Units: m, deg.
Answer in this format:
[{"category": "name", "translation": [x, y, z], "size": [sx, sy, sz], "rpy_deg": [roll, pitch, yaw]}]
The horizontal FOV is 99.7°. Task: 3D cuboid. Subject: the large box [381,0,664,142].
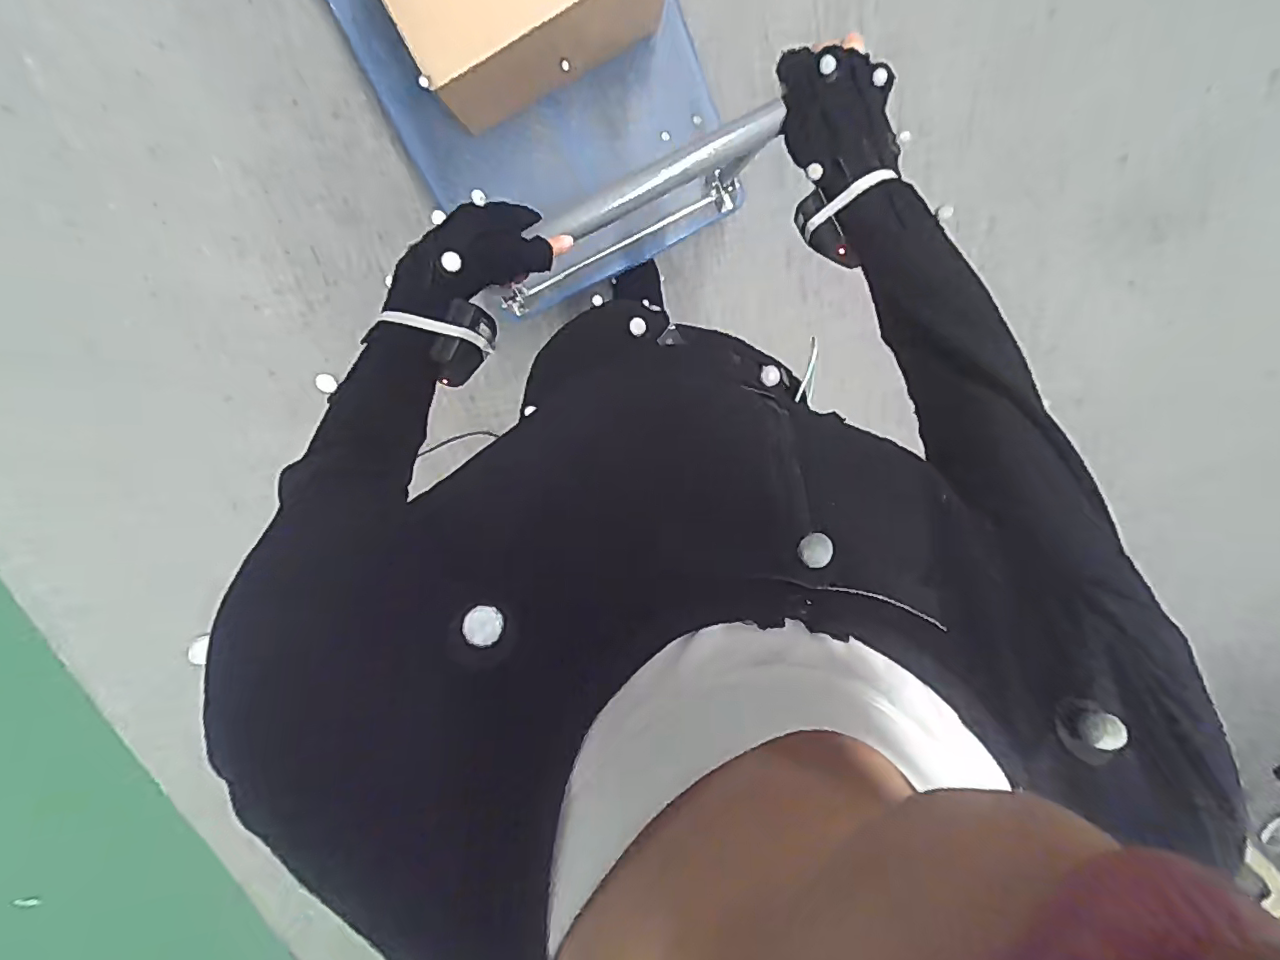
[{"category": "large box", "translation": [-0.200, -0.816, 0.848], "size": [0.408, 0.320, 0.320], "rpy_deg": [-28, 110, 5]}]
